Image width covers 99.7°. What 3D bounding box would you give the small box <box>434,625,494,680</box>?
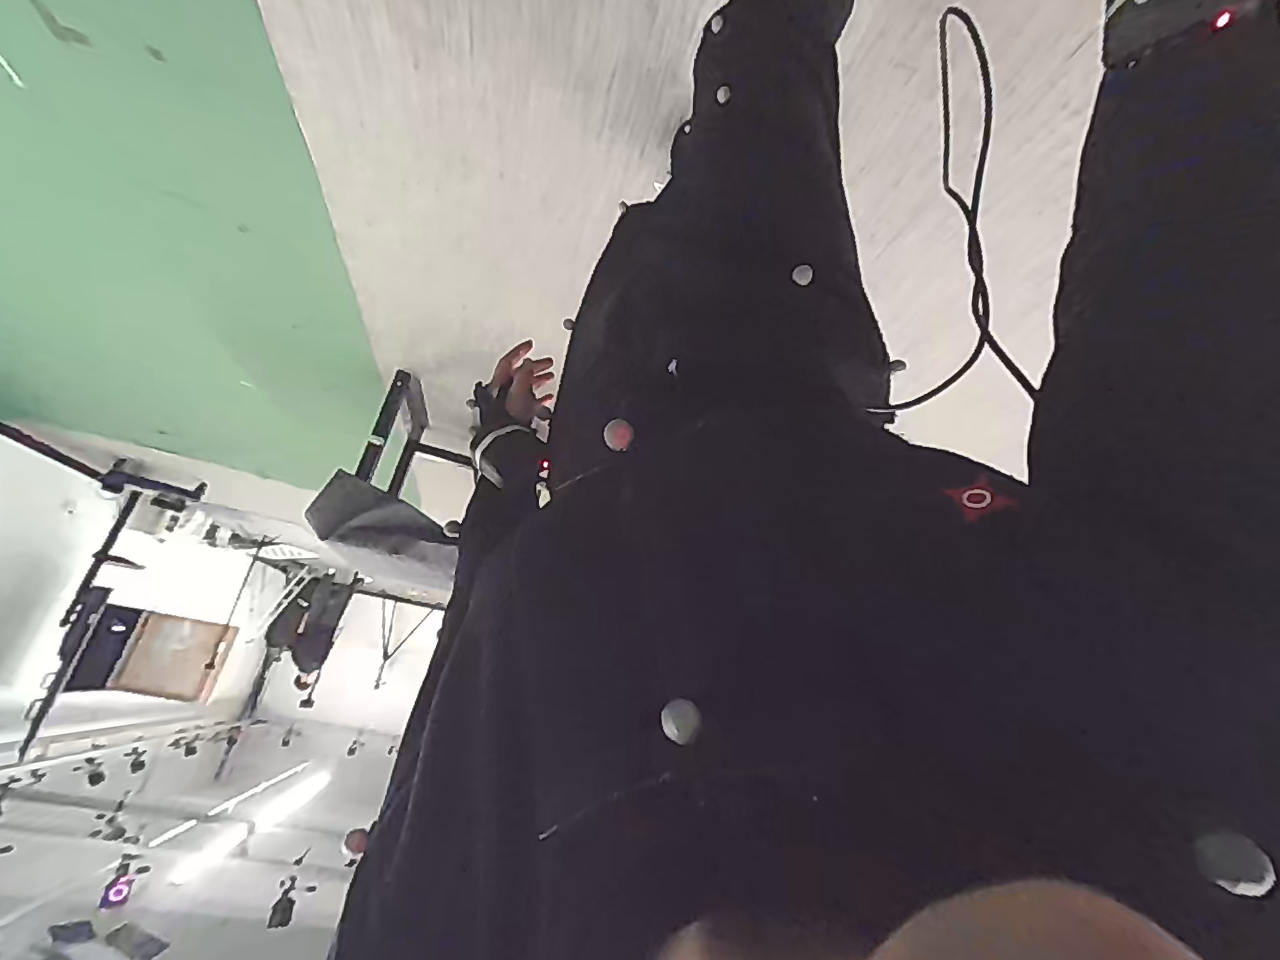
[{"bbox_3d":[-0.660,0.646,2.037,0.179,0.176,0.168,17,158,-12],"label":"small box"}]

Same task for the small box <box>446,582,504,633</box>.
[{"bbox_3d":[-0.637,0.495,2.093,0.179,0.176,0.168,15,159,-11],"label":"small box"}]
